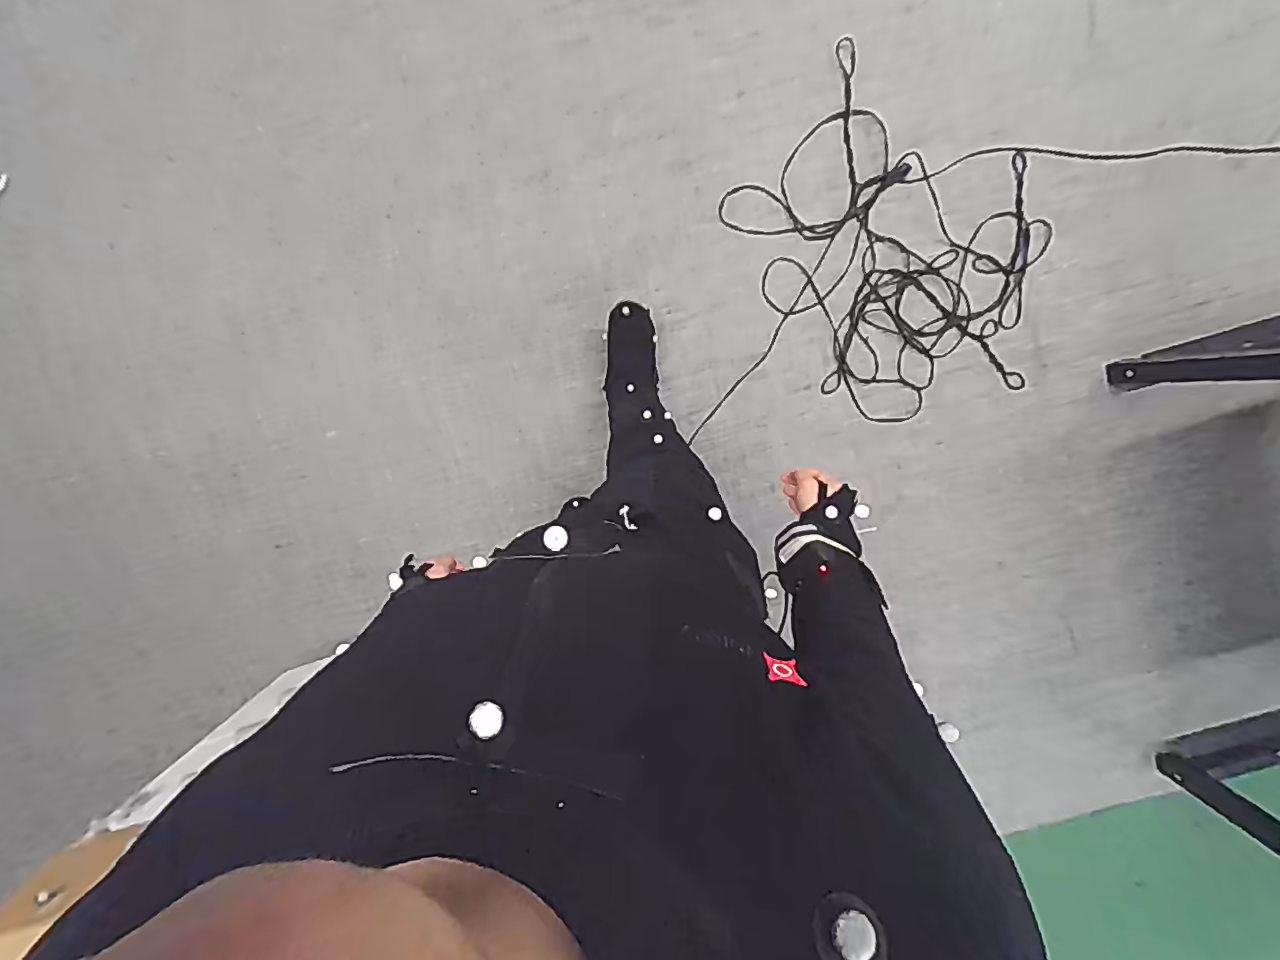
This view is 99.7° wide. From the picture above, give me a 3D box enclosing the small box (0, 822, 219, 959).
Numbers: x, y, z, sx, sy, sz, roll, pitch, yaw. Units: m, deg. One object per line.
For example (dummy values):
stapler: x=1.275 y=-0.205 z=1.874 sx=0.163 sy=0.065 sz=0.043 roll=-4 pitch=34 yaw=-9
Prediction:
small box: x=-0.727 y=0.610 z=0.738 sx=0.179 sy=0.176 sz=0.168 roll=-15 pitch=99 yaw=1
